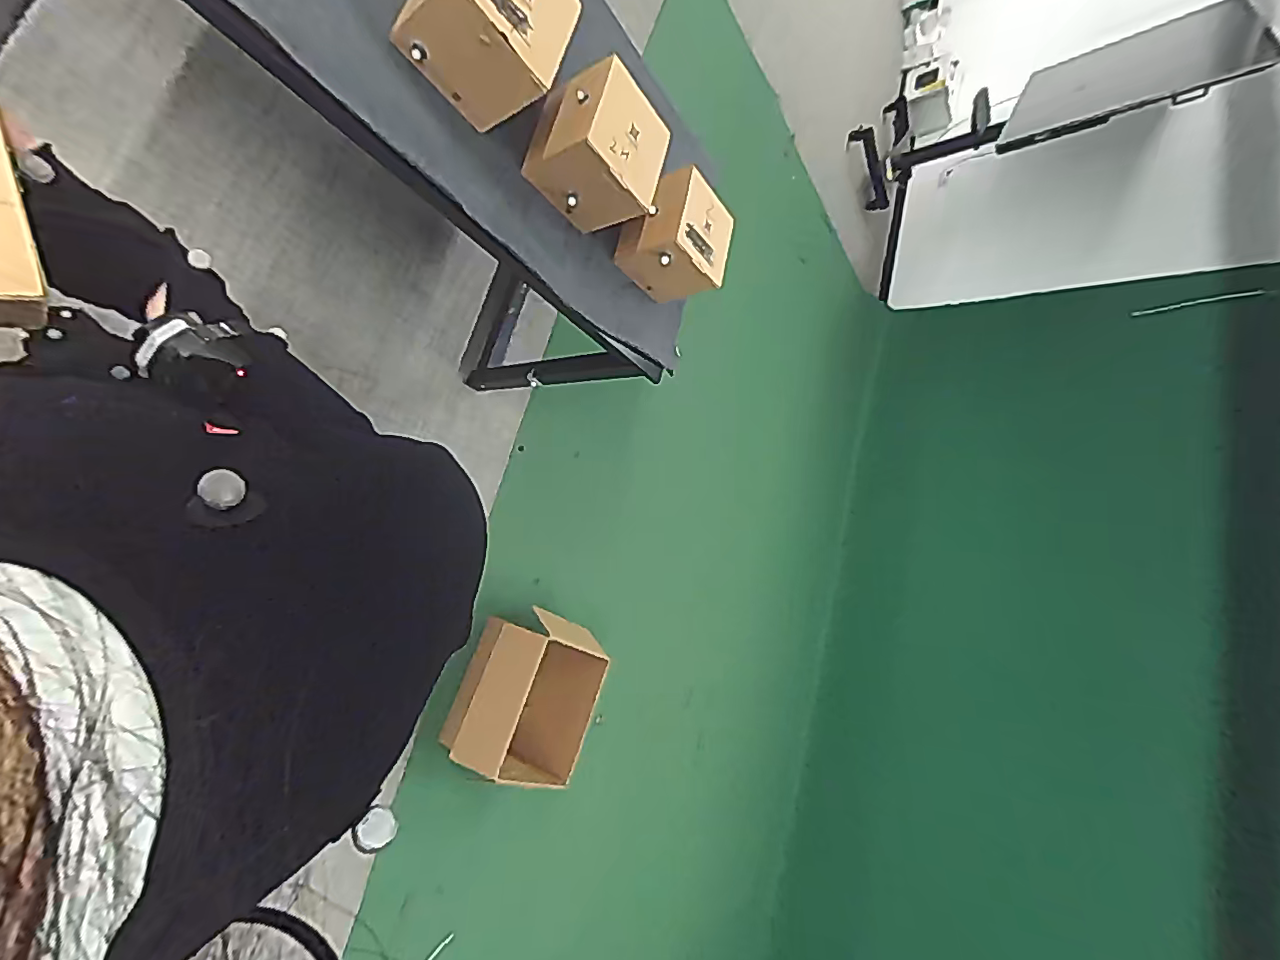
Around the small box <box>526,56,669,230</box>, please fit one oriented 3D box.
[{"bbox_3d":[-0.077,-0.584,0.962,0.168,0.176,0.179,29,71,-47],"label":"small box"}]

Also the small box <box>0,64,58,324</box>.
[{"bbox_3d":[-0.447,-0.179,0.279,0.168,0.176,0.179,-17,110,-47],"label":"small box"}]

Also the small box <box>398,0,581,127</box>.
[{"bbox_3d":[-0.220,-0.664,0.784,0.168,0.176,0.179,32,68,-47],"label":"small box"}]
